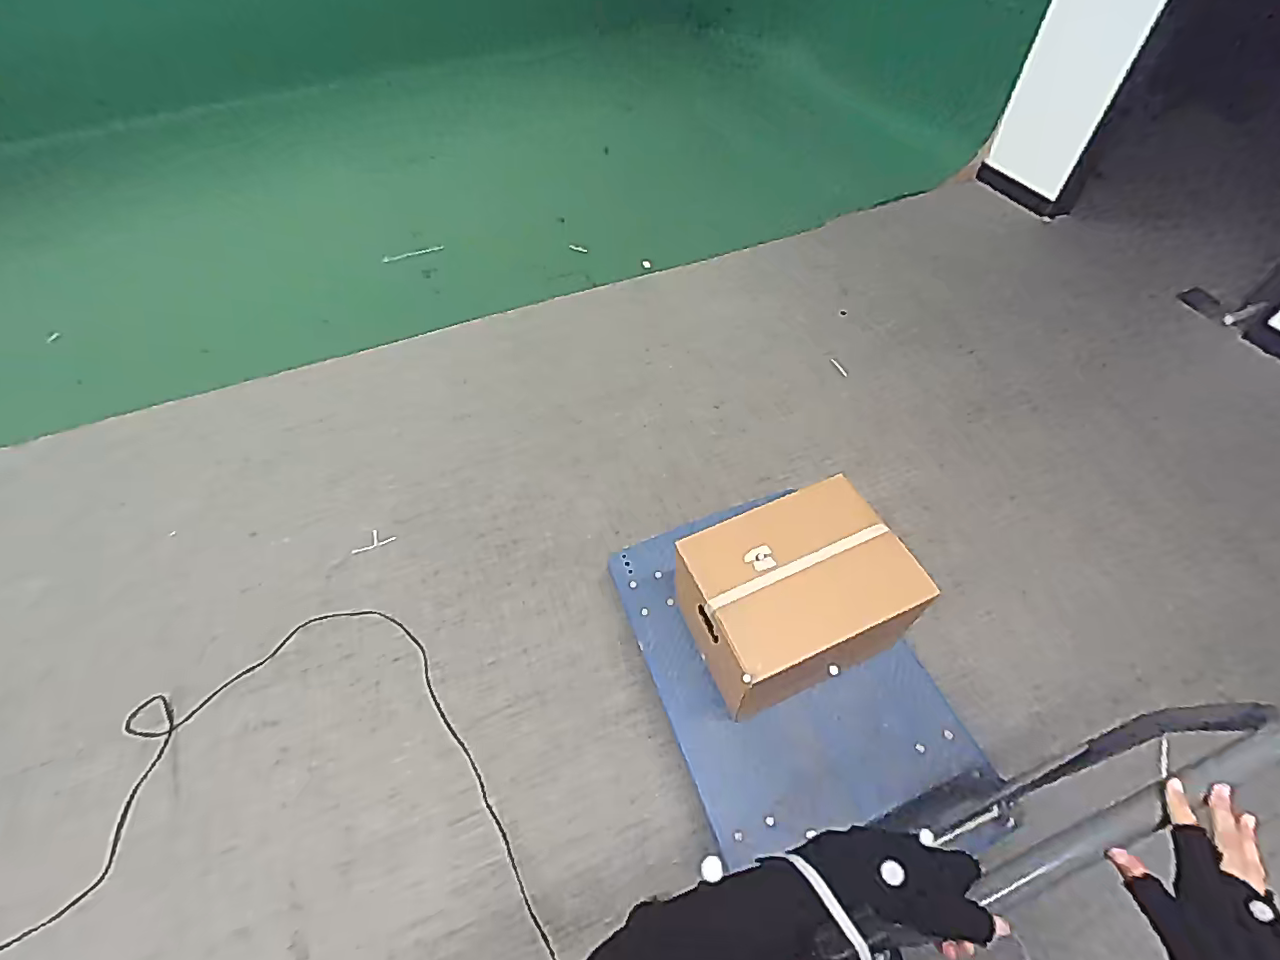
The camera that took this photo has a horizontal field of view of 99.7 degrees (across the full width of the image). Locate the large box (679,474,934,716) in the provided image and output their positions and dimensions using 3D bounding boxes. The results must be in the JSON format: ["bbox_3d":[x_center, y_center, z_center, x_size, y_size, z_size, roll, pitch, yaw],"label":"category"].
[{"bbox_3d":[0.330,0.254,1.184,0.408,0.320,0.320,-23,55,-10],"label":"large box"}]
